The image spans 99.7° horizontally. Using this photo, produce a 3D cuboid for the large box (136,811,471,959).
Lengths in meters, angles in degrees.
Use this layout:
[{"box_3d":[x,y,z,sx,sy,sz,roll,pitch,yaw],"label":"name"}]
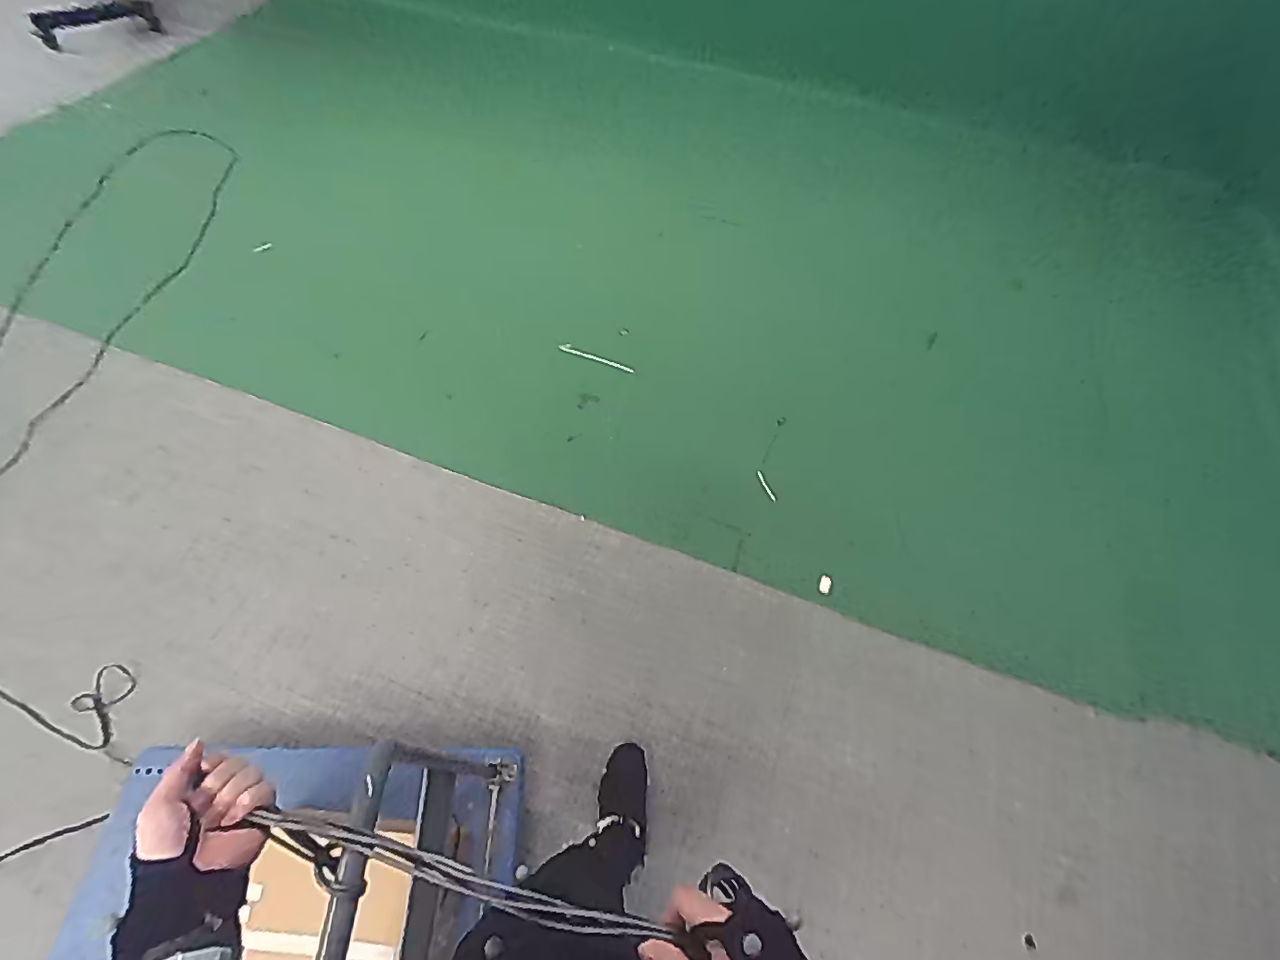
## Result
[{"box_3d":[-0.559,0.783,0.955,0.408,0.320,0.320,4,59,1],"label":"large box"}]
